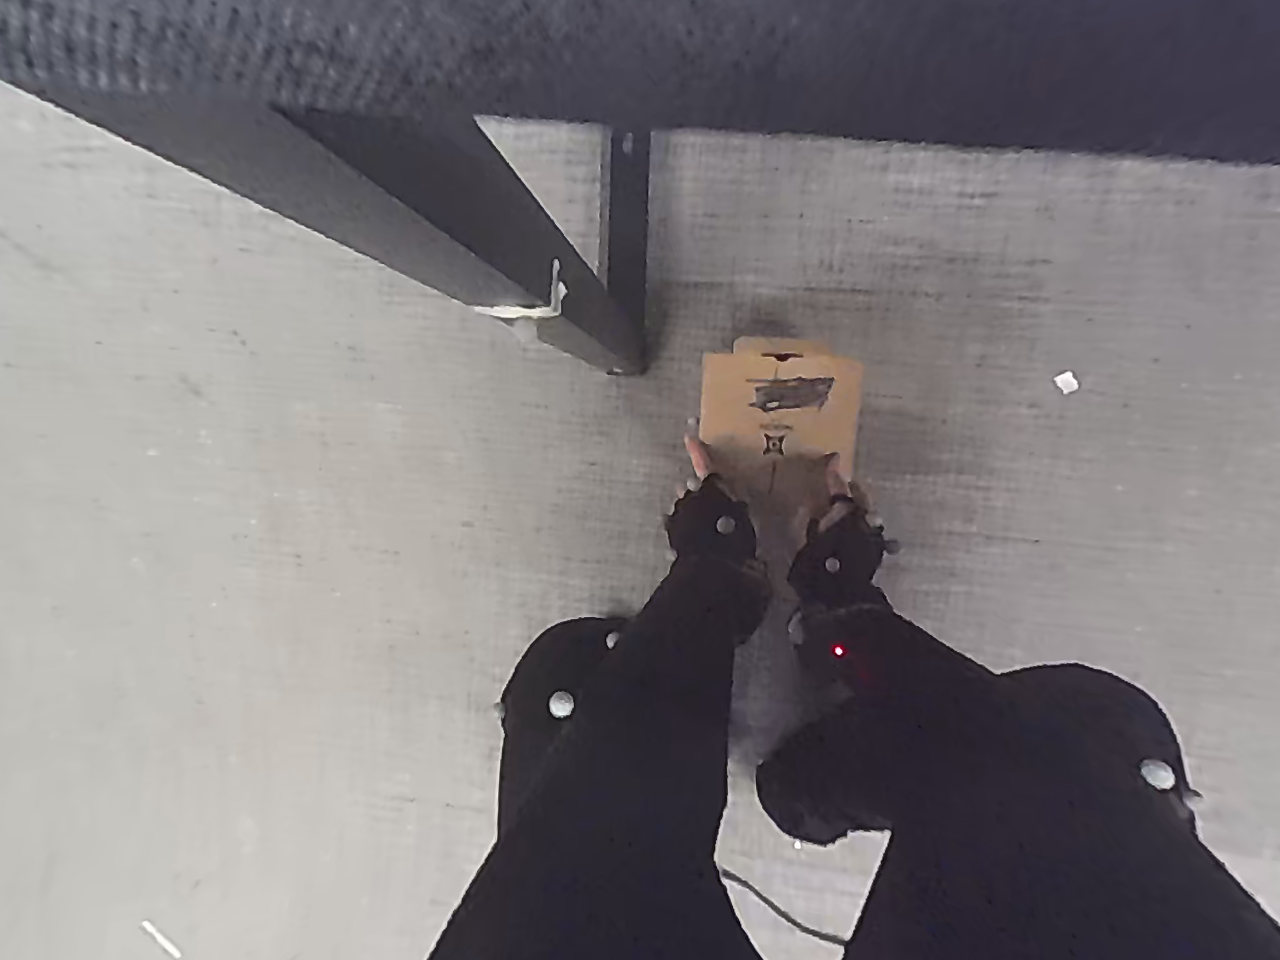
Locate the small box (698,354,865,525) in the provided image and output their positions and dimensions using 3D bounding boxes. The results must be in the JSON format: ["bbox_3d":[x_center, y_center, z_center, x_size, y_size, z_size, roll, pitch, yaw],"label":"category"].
[{"bbox_3d":[0.155,-0.051,0.646,0.168,0.176,0.179,2,97,7],"label":"small box"}]
